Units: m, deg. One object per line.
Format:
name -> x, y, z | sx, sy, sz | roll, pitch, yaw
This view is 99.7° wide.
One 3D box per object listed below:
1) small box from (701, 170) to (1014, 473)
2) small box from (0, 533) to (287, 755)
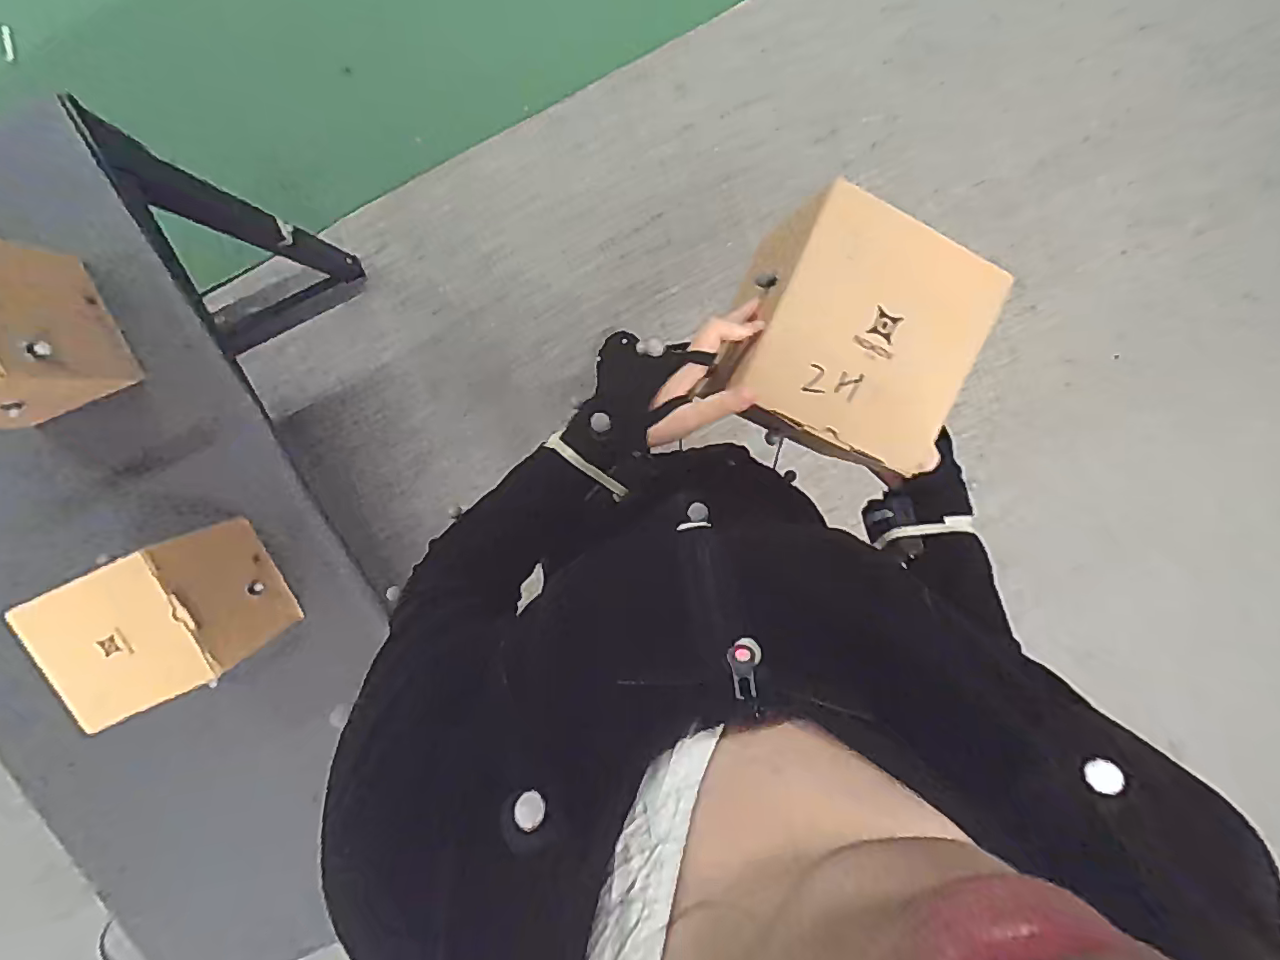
small box -> 0.171, -0.125, 0.485 | 0.168, 0.176, 0.179 | 23, 95, -10
small box -> -0.586, 0.183, 0.655 | 0.179, 0.176, 0.168 | -25, 98, 1
